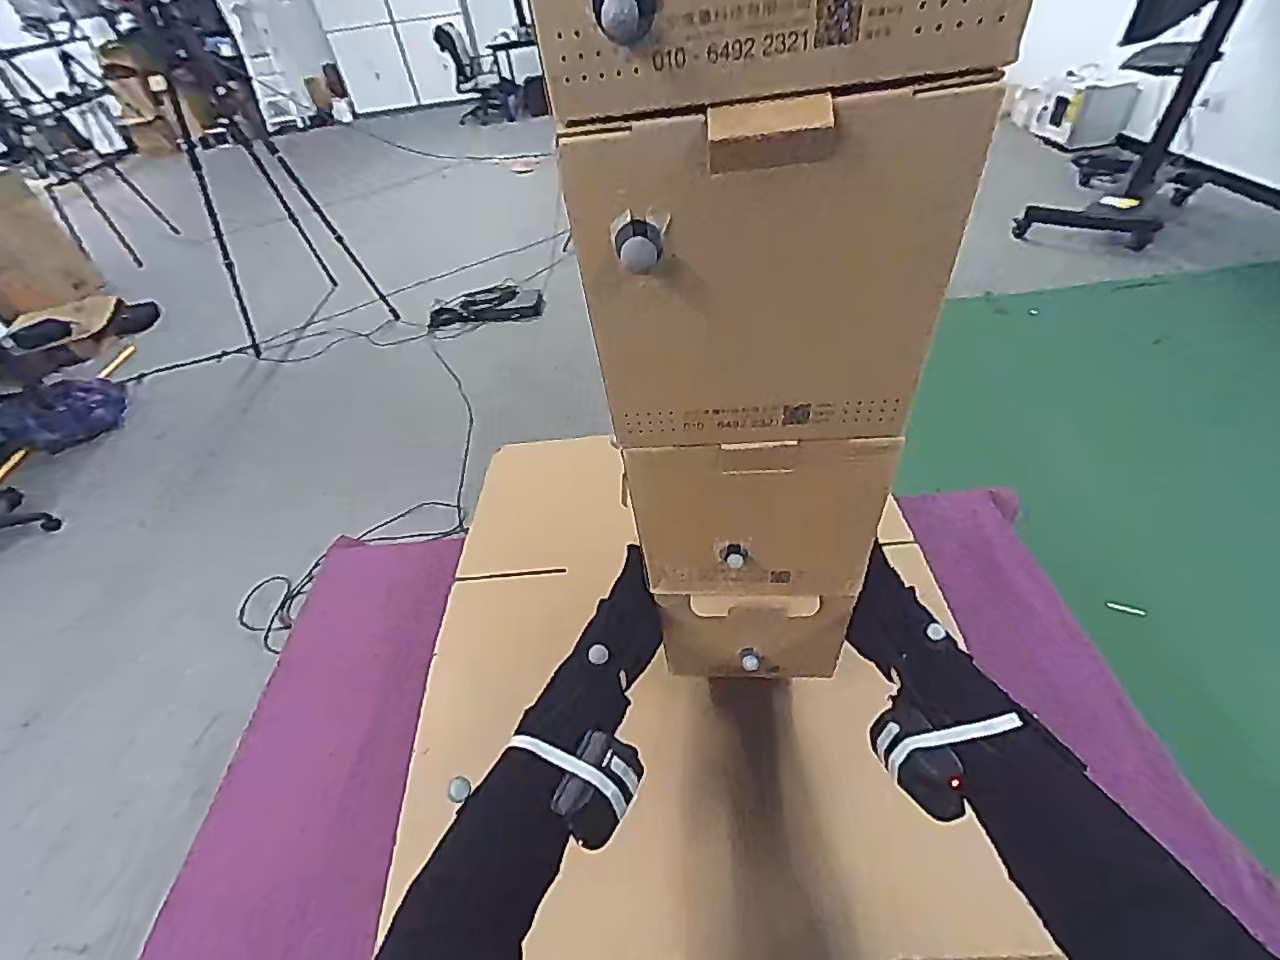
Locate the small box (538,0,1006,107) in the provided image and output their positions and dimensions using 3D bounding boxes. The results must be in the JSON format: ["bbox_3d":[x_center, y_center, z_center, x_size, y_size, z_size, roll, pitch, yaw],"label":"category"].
[{"bbox_3d":[0.044,-0.258,0.202,0.168,0.176,0.179,-1,46,8],"label":"small box"}]

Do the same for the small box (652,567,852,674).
[{"bbox_3d":[0.107,0.078,0.557,0.168,0.176,0.179,-1,48,9],"label":"small box"}]

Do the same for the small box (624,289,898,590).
[{"bbox_3d":[0.086,-0.031,0.438,0.168,0.176,0.179,-1,48,8],"label":"small box"}]
